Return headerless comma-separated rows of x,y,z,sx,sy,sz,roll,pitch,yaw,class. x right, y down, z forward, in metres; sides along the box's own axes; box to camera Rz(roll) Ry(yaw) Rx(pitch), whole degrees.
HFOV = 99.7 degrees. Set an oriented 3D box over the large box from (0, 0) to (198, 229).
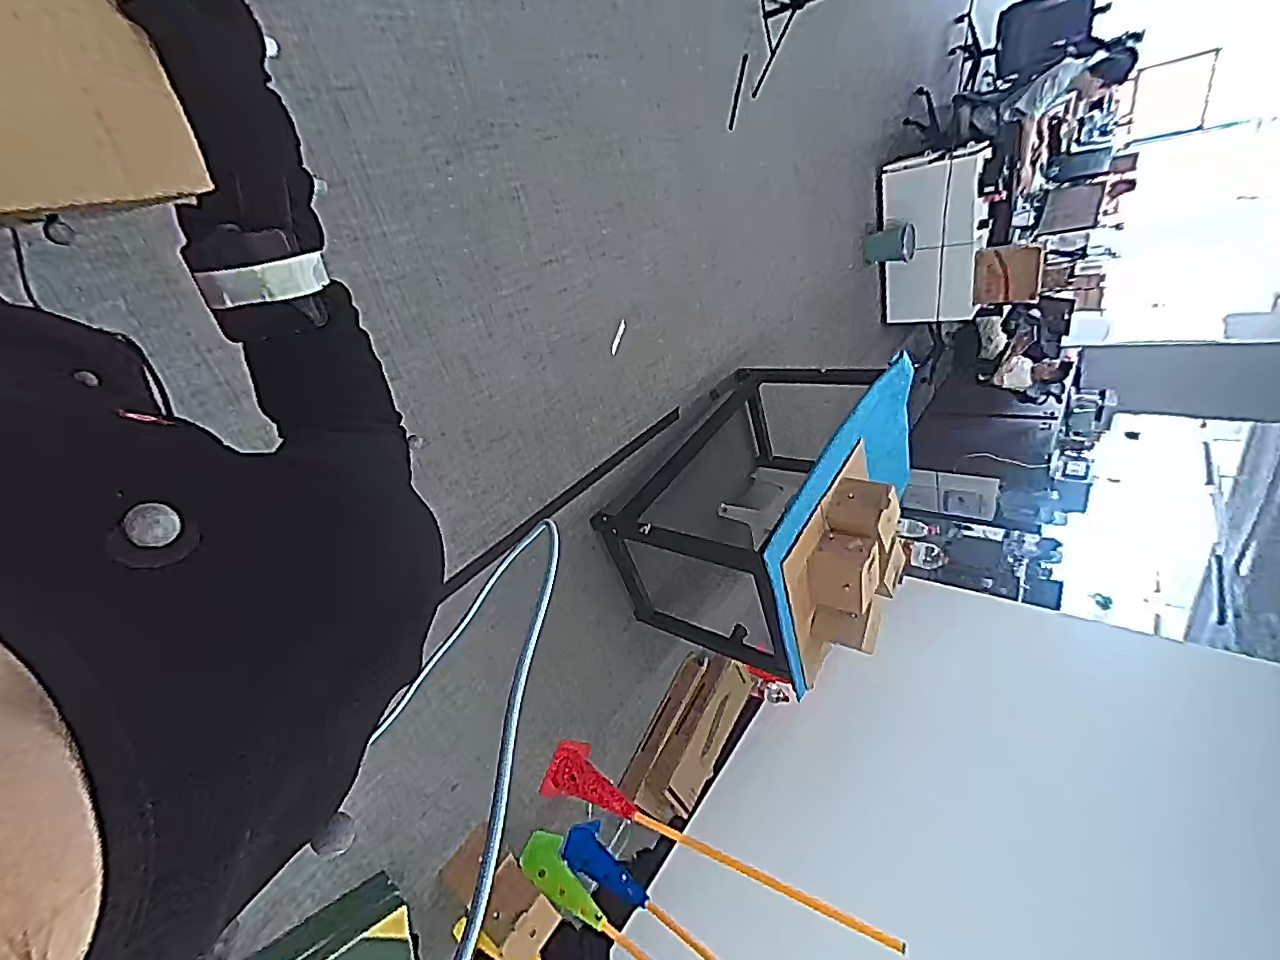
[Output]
-0.510,-0.248,0.212,0.408,0.320,0.320,-33,128,-37,large box
